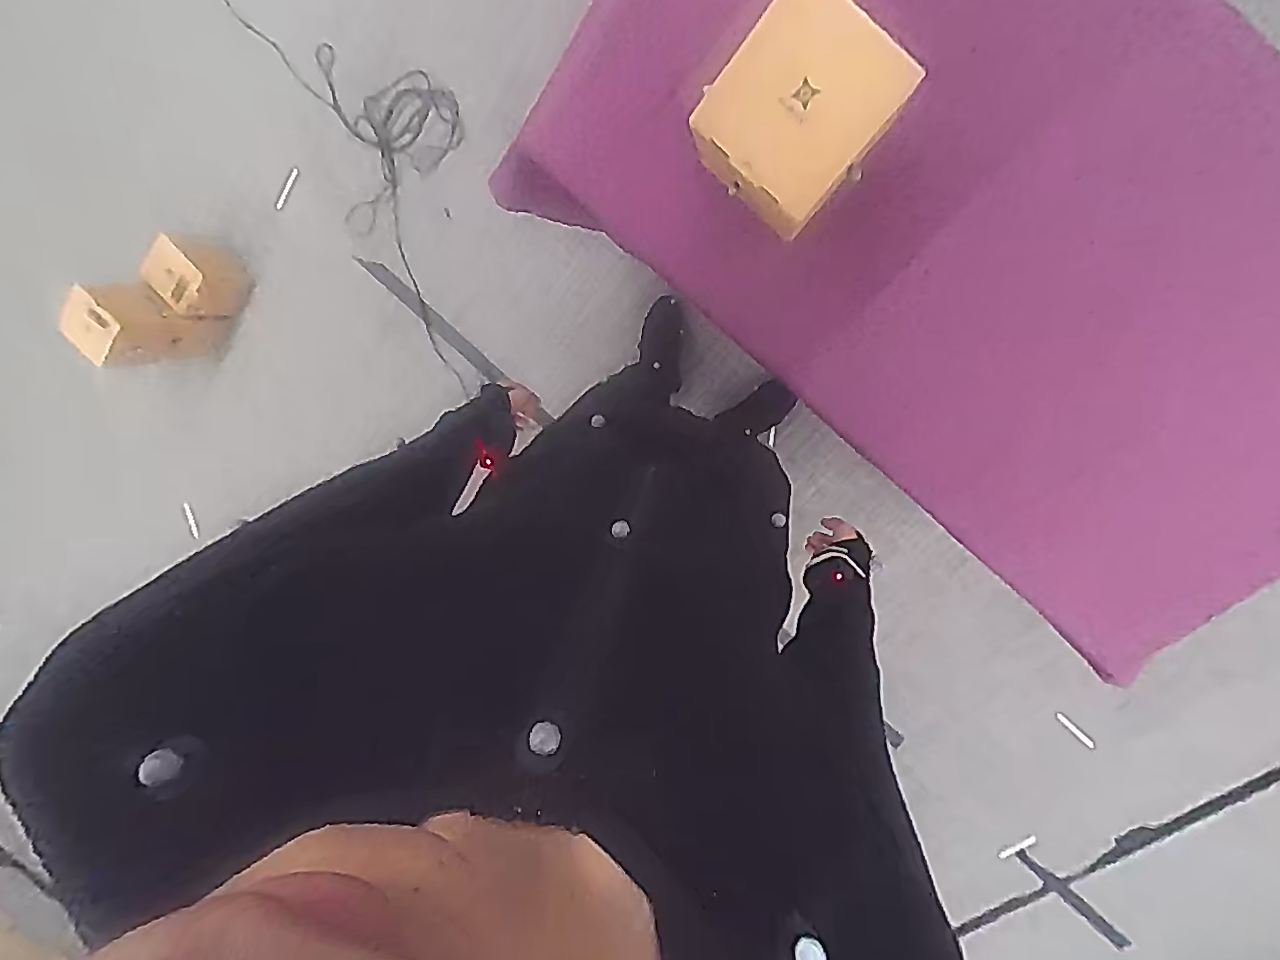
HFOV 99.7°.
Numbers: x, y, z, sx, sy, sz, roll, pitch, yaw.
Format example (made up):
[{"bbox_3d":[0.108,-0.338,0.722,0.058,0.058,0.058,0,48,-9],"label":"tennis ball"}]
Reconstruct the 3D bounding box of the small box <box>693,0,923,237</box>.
[{"bbox_3d":[0.183,-0.417,0.635,0.168,0.176,0.179,41,111,-3],"label":"small box"}]

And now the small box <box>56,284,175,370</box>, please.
[{"bbox_3d":[-1.522,-0.450,1.579,0.179,0.176,0.168,-42,95,22],"label":"small box"}]
